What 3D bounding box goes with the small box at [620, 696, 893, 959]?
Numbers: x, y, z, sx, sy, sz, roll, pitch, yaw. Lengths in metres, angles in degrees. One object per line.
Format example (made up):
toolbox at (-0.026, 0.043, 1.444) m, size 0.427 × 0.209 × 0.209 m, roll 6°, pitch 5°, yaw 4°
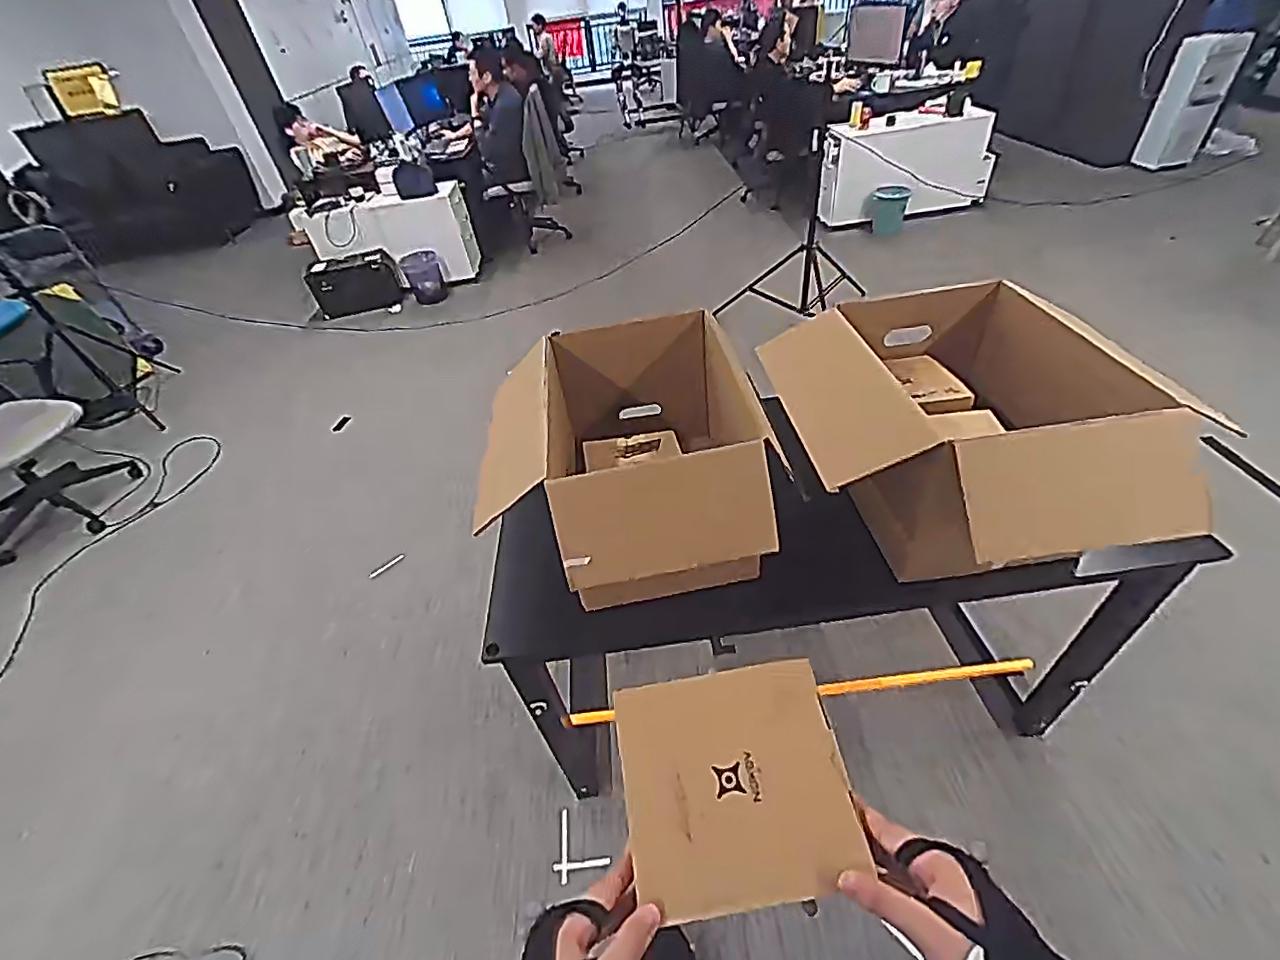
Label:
small box at (0.086, 0.308, 0.479) m, size 0.179 × 0.176 × 0.168 m, roll -11°, pitch 54°, yaw 0°
